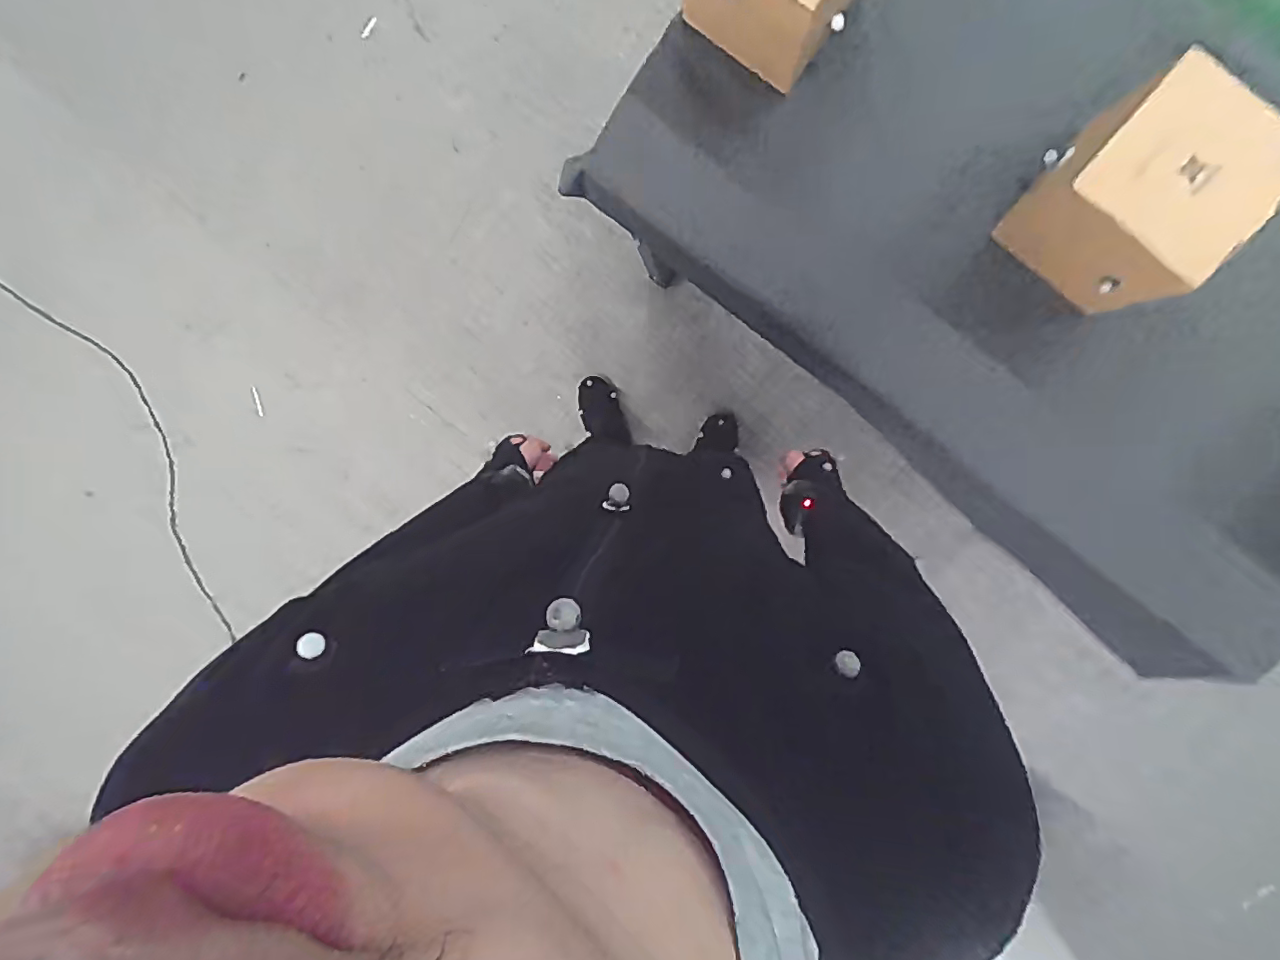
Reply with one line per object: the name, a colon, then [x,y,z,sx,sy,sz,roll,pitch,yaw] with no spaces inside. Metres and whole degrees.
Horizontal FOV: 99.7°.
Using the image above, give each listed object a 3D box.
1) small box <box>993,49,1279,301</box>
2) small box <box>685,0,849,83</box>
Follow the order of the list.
small box: [0.579,-0.334,0.639,0.179,0.176,0.168,37,97,0]
small box: [0.163,-0.619,0.627,0.179,0.176,0.168,34,99,-2]
